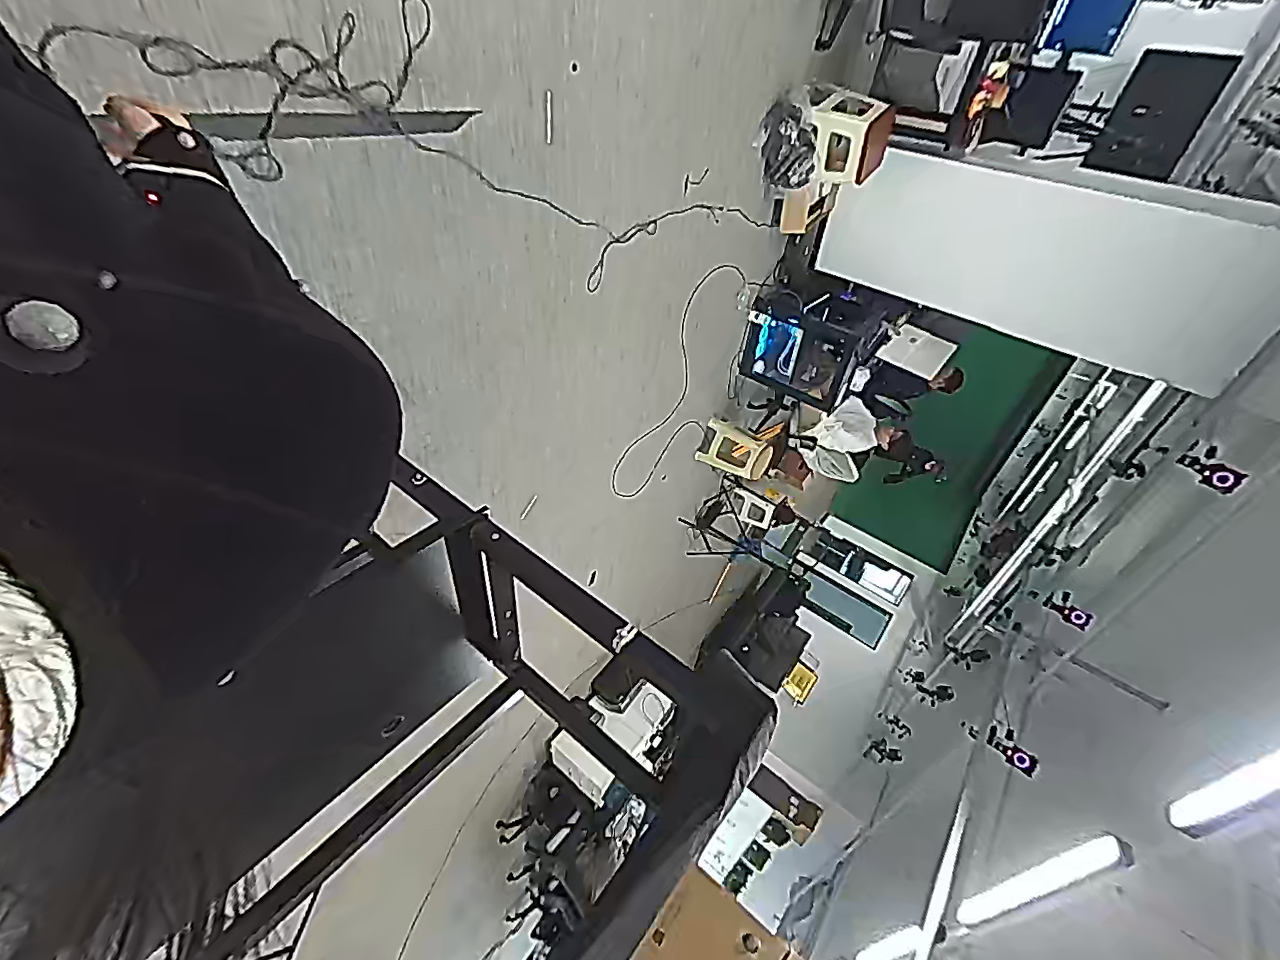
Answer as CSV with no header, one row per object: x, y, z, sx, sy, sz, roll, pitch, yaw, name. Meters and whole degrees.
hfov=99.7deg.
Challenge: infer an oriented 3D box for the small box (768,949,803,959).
0.209,0.769,0.706,0.168,0.176,0.179,-37,149,-39,small box
